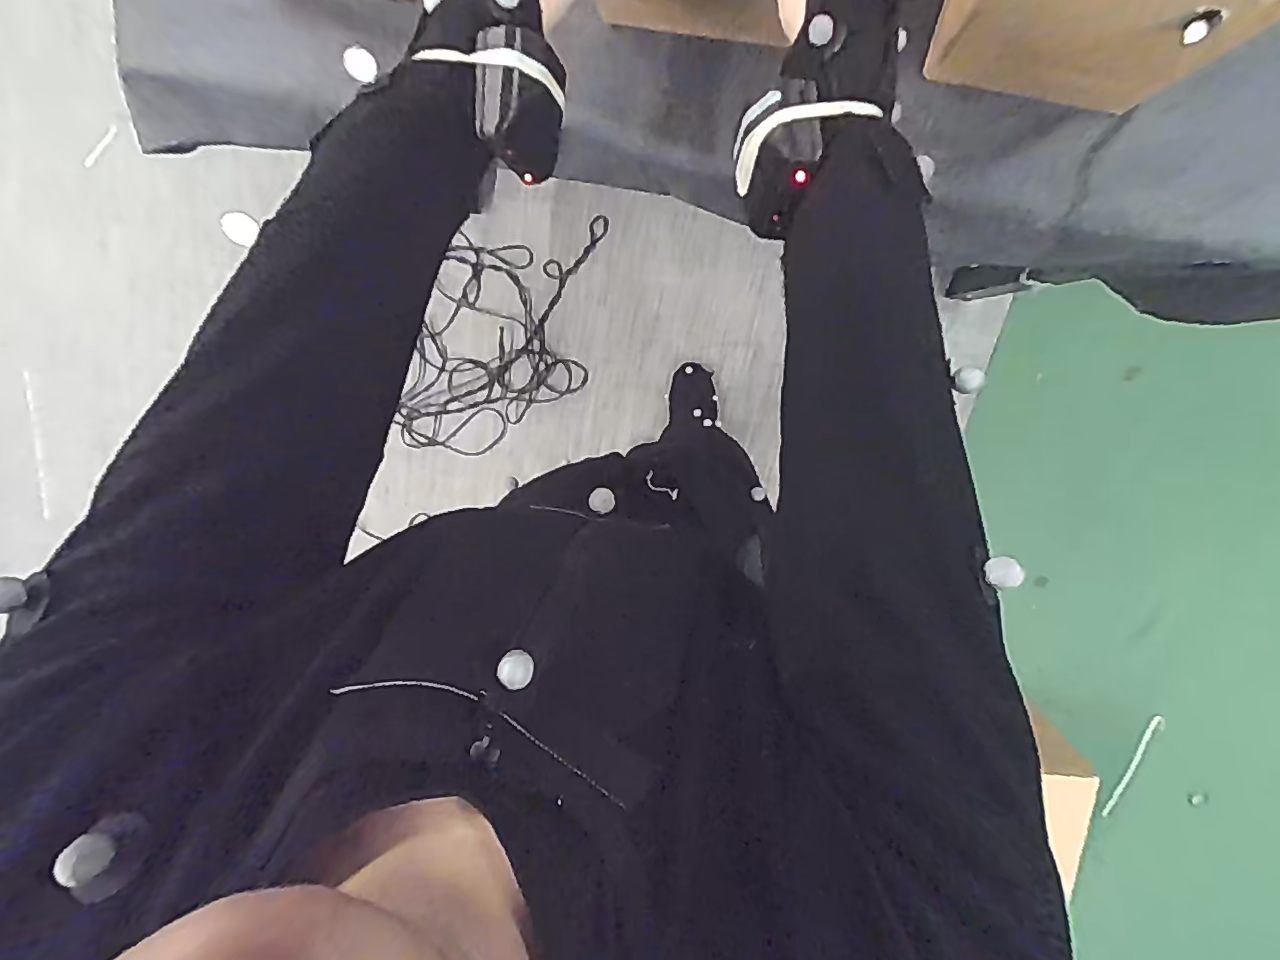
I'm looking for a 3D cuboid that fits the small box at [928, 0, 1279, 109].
[{"bbox_3d":[0.335,-0.393,0.376,0.179,0.176,0.168,14,105,5],"label":"small box"}]
